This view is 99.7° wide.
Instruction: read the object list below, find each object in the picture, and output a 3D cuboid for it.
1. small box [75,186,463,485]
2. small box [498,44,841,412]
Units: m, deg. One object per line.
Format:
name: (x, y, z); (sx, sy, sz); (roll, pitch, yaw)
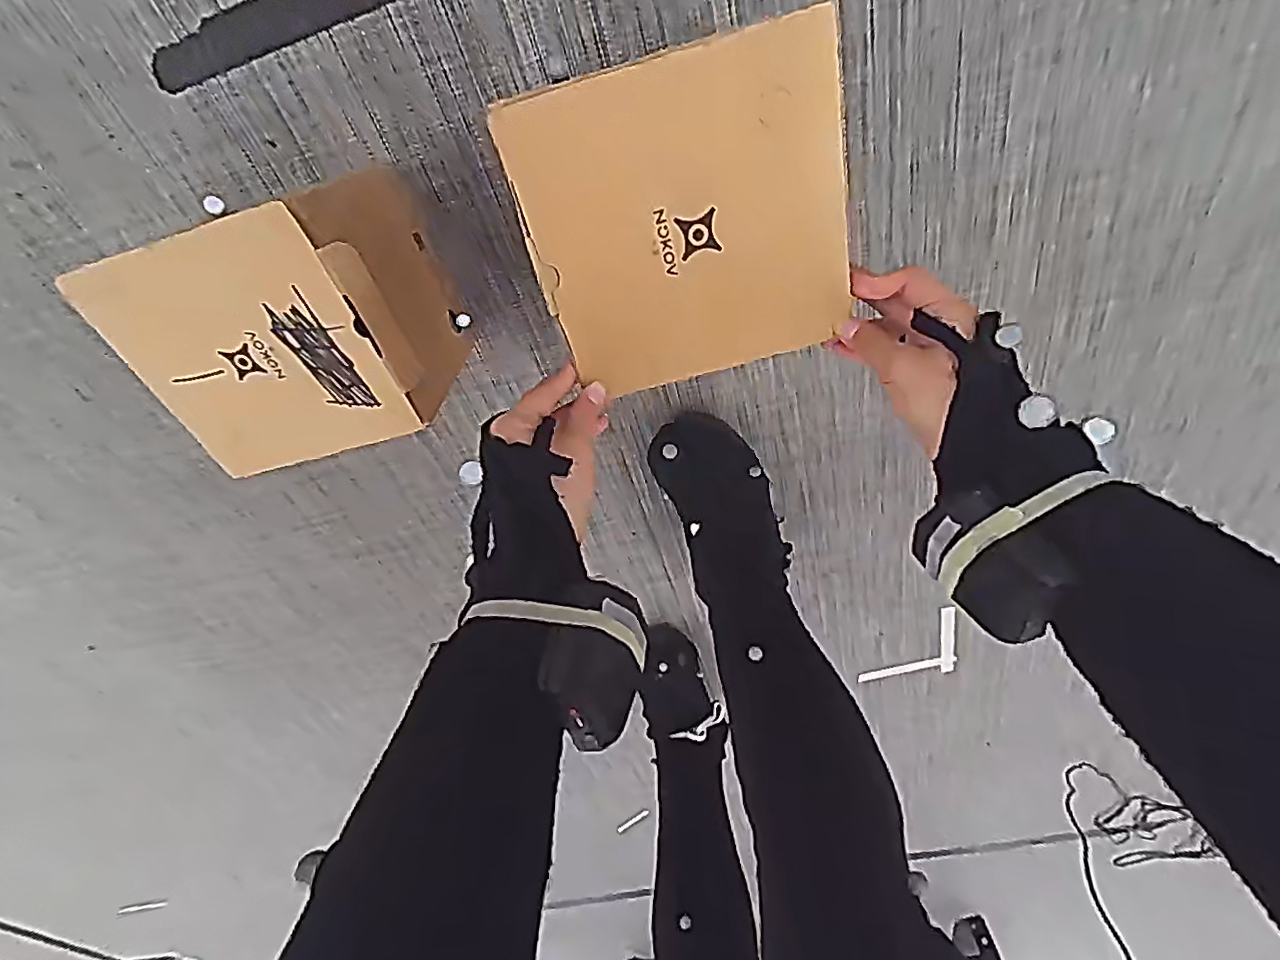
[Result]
small box: (-0.266, -0.124, 0.448); (0.179, 0.176, 0.168); (-13, 125, 8)
small box: (0.022, -0.174, 0.380); (0.179, 0.176, 0.168); (-14, 123, 6)
